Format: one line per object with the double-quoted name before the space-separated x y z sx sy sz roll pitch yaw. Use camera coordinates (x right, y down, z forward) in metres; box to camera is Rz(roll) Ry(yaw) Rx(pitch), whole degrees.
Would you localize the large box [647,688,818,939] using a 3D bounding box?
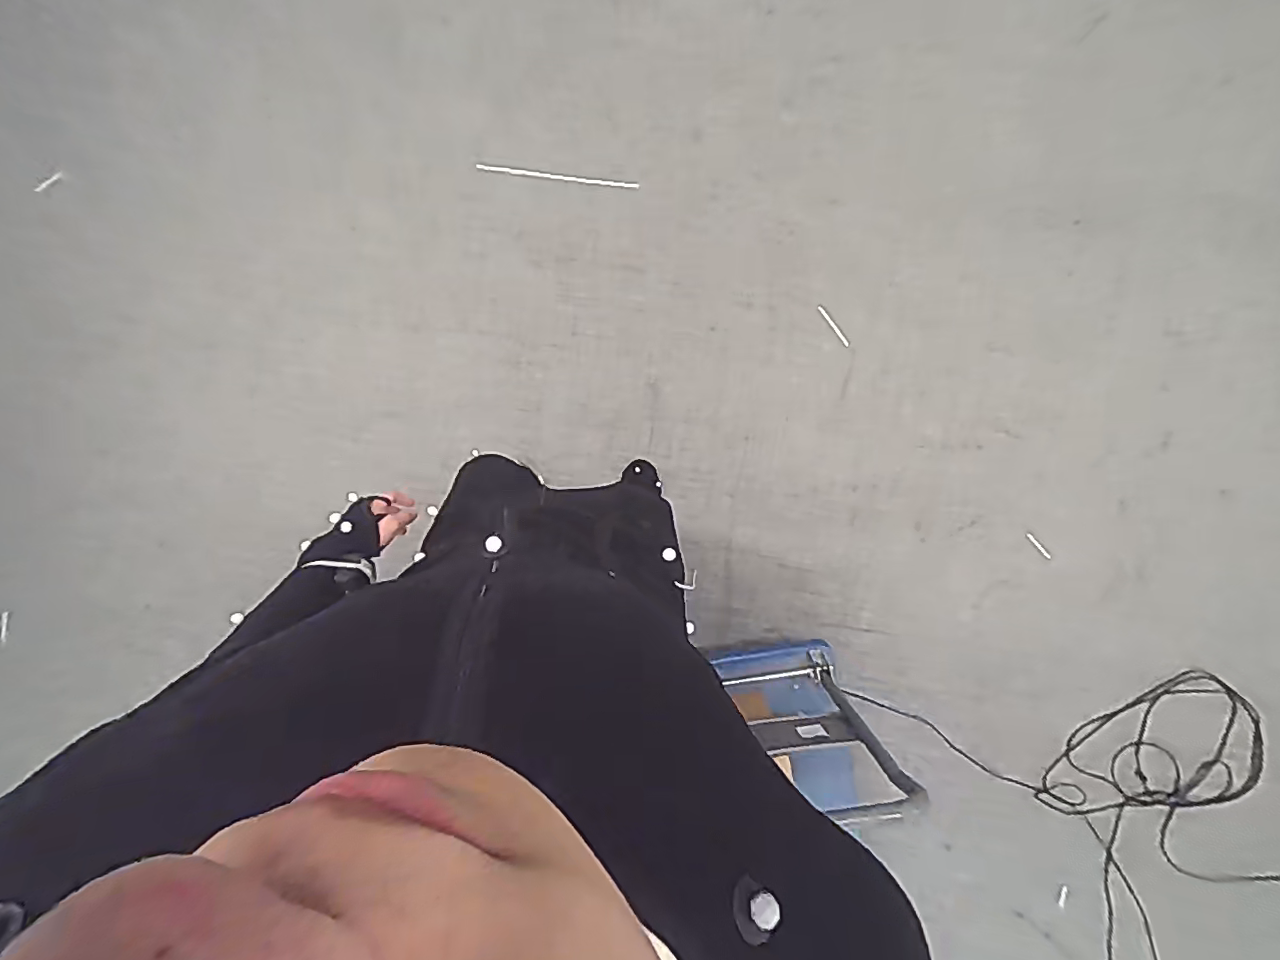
"large box" 0.208 0.797 1.343 0.320 0.320 0.408 -11 94 3
